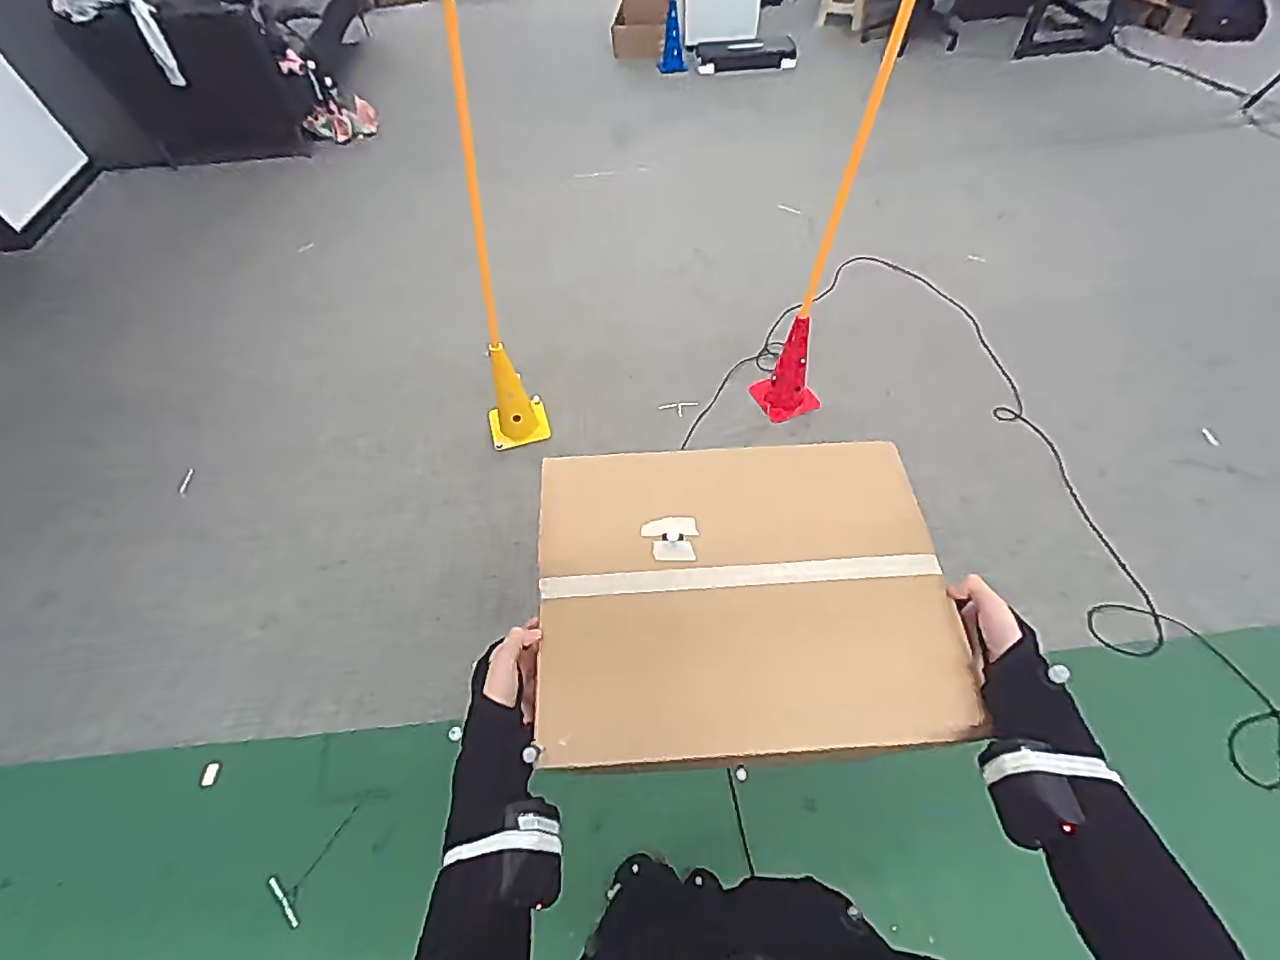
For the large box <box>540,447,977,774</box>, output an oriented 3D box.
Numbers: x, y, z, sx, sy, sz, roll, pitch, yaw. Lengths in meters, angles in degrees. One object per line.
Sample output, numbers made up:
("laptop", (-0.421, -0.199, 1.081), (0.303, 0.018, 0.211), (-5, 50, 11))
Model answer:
("large box", (0.102, 0.181, 0.683), (0.408, 0.320, 0.320), (-4, 60, -1))
